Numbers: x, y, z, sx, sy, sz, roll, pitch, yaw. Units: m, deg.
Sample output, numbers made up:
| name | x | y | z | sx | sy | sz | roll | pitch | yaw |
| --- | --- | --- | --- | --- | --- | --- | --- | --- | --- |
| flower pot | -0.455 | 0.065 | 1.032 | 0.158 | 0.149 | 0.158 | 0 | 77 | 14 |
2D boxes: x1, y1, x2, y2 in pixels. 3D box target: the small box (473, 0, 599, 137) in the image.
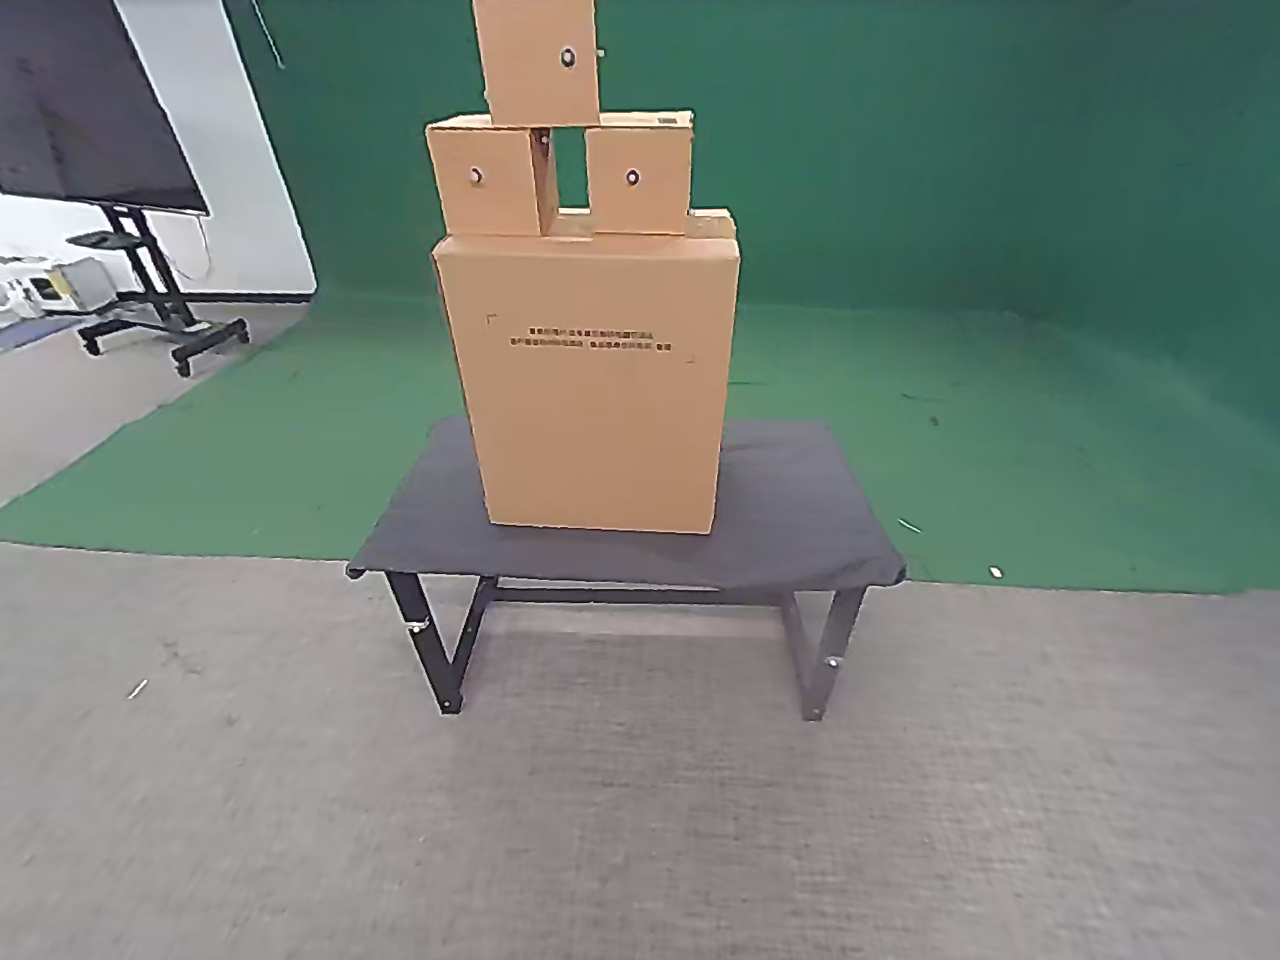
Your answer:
| name | x | y | z | sx | sy | sz | roll | pitch | yaw |
| --- | --- | --- | --- | --- | --- | --- | --- | --- | --- |
| small box | -0.158 | -0.672 | 0.887 | 0.179 | 0.176 | 0.168 | -5 | 39 | -3 |

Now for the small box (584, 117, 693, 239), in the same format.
| name | x | y | z | sx | sy | sz | roll | pitch | yaw |
| --- | --- | --- | --- | --- | --- | --- | --- | --- | --- |
| small box | 0.004 | -0.552 | 0.991 | 0.179 | 0.176 | 0.168 | 2 | 41 | 6 |

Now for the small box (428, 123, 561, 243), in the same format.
| name | x | y | z | sx | sy | sz | roll | pitch | yaw |
| --- | --- | --- | --- | --- | --- | --- | --- | --- | --- |
| small box | -0.254 | -0.545 | 0.992 | 0.179 | 0.176 | 0.168 | 3 | 40 | 5 |
